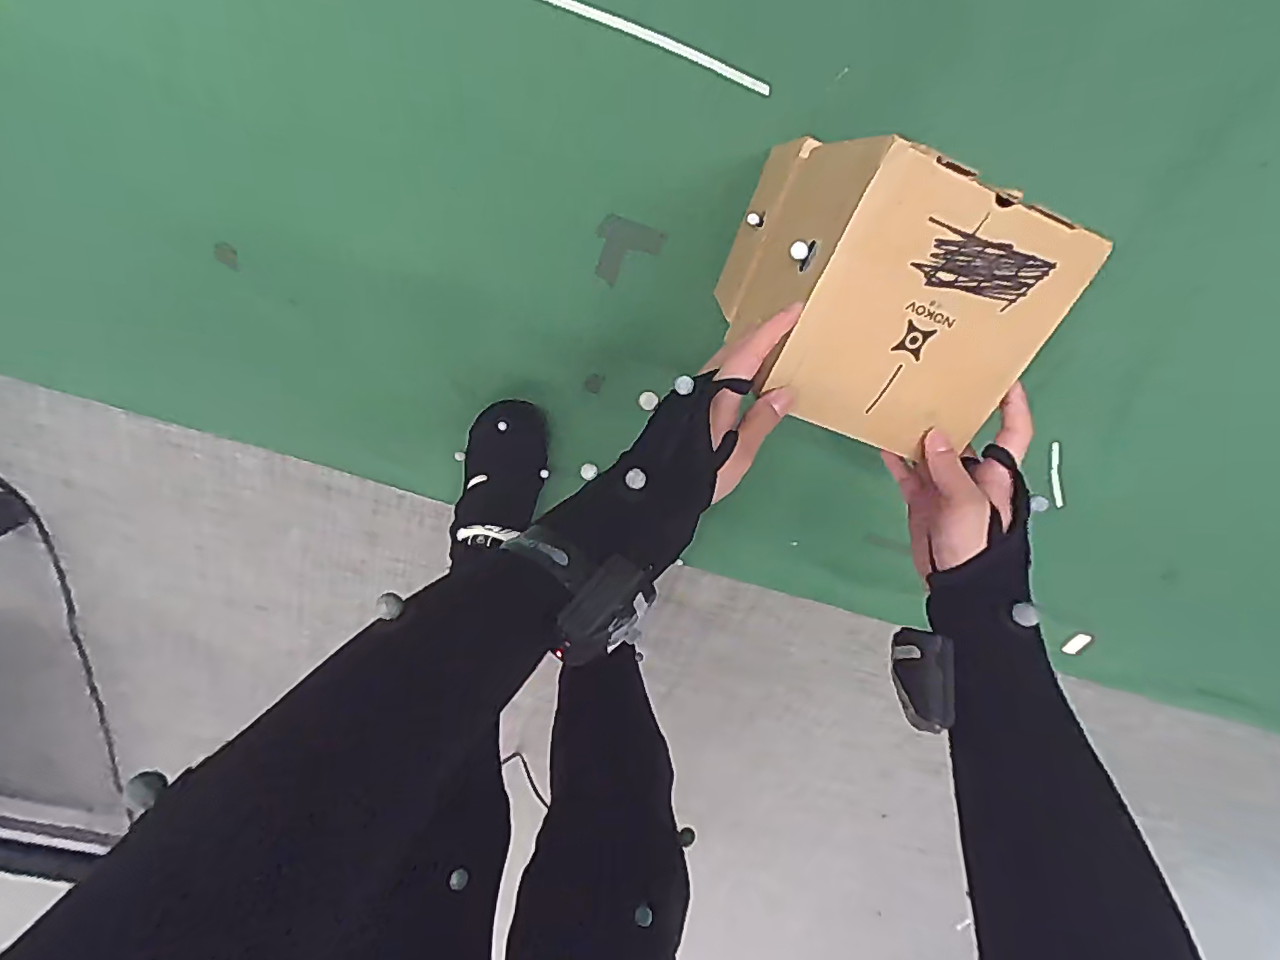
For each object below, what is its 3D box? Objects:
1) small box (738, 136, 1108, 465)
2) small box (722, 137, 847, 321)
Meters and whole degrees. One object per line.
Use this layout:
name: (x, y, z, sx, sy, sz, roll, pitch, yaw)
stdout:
small box: (0.195, -0.146, 0.439, 0.168, 0.176, 0.179, 19, 118, -11)
small box: (0.201, -0.249, 0.603, 0.168, 0.176, 0.179, 19, 118, -9)
